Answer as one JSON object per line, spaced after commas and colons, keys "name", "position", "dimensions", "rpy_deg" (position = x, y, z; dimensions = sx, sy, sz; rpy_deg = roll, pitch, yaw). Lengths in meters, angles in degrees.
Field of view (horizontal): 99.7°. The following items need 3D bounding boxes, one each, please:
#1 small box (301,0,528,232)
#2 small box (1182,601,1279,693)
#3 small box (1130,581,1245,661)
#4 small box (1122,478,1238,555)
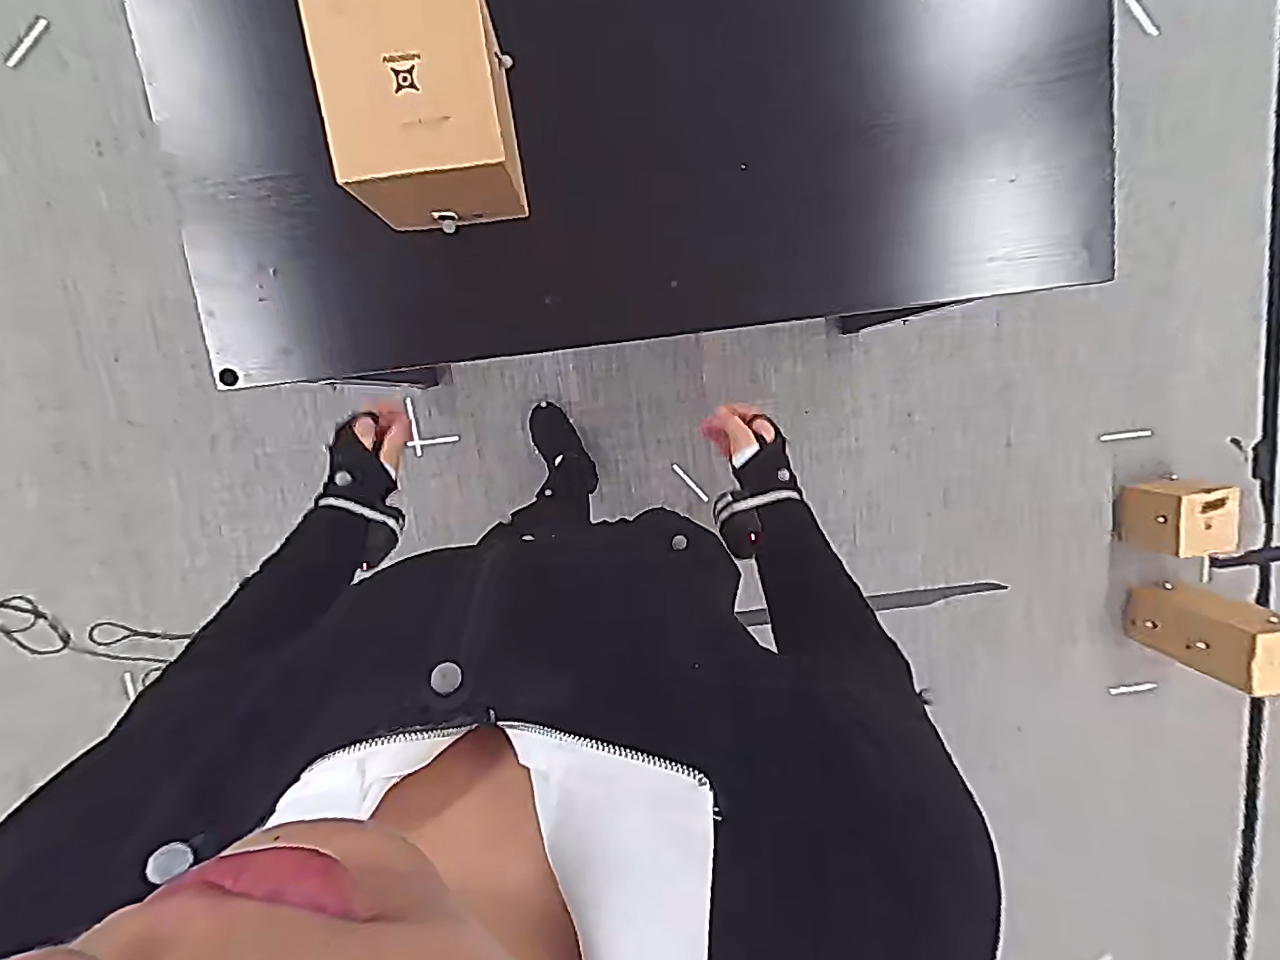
{"name": "small box", "position": [-0.229, -0.397, 0.595], "dimensions": [0.168, 0.176, 0.179], "rpy_deg": [-9, 99, -1]}
{"name": "small box", "position": [1.577, 0.424, 1.400], "dimensions": [0.179, 0.176, 0.168], "rpy_deg": [-6, 99, -2]}
{"name": "small box", "position": [1.574, 0.402, 1.565], "dimensions": [0.179, 0.176, 0.168], "rpy_deg": [-7, 99, -2]}
{"name": "small box", "position": [1.501, 0.094, 1.511], "dimensions": [0.168, 0.176, 0.179], "rpy_deg": [-9, 99, -2]}
